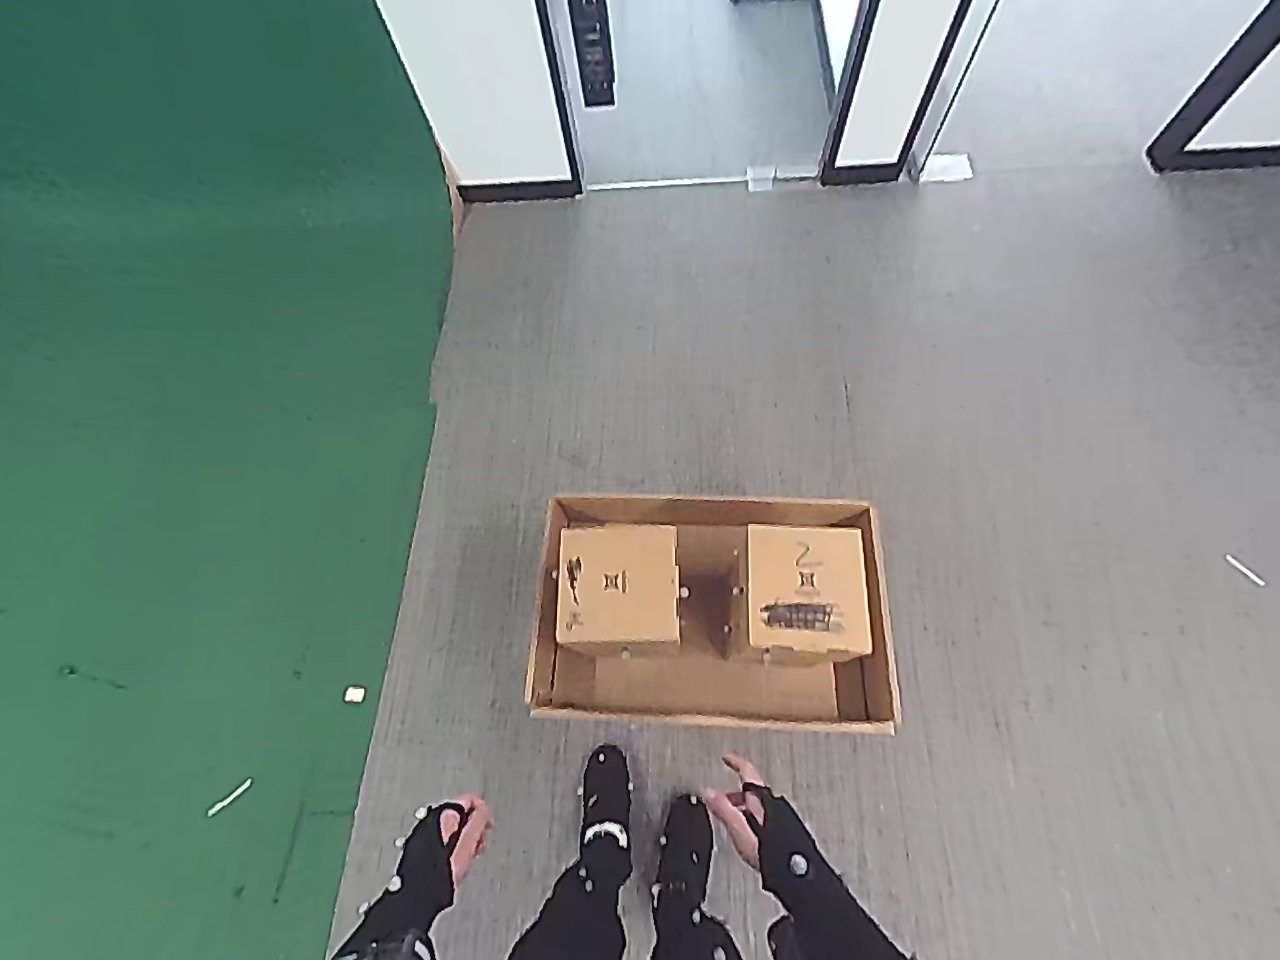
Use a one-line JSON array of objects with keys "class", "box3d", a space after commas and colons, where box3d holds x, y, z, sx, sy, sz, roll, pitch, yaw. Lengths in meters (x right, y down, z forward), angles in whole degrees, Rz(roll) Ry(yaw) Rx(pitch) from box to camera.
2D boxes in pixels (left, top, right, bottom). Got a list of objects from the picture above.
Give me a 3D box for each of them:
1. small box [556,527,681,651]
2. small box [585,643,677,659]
[{"class": "small box", "box3d": [-0.027, 0.177, 0.855, 0.179, 0.176, 0.168, -1, 67, 3]}, {"class": "small box", "box3d": [-0.017, 0.240, 1.007, 0.179, 0.176, 0.168, 1, 67, 3]}]
